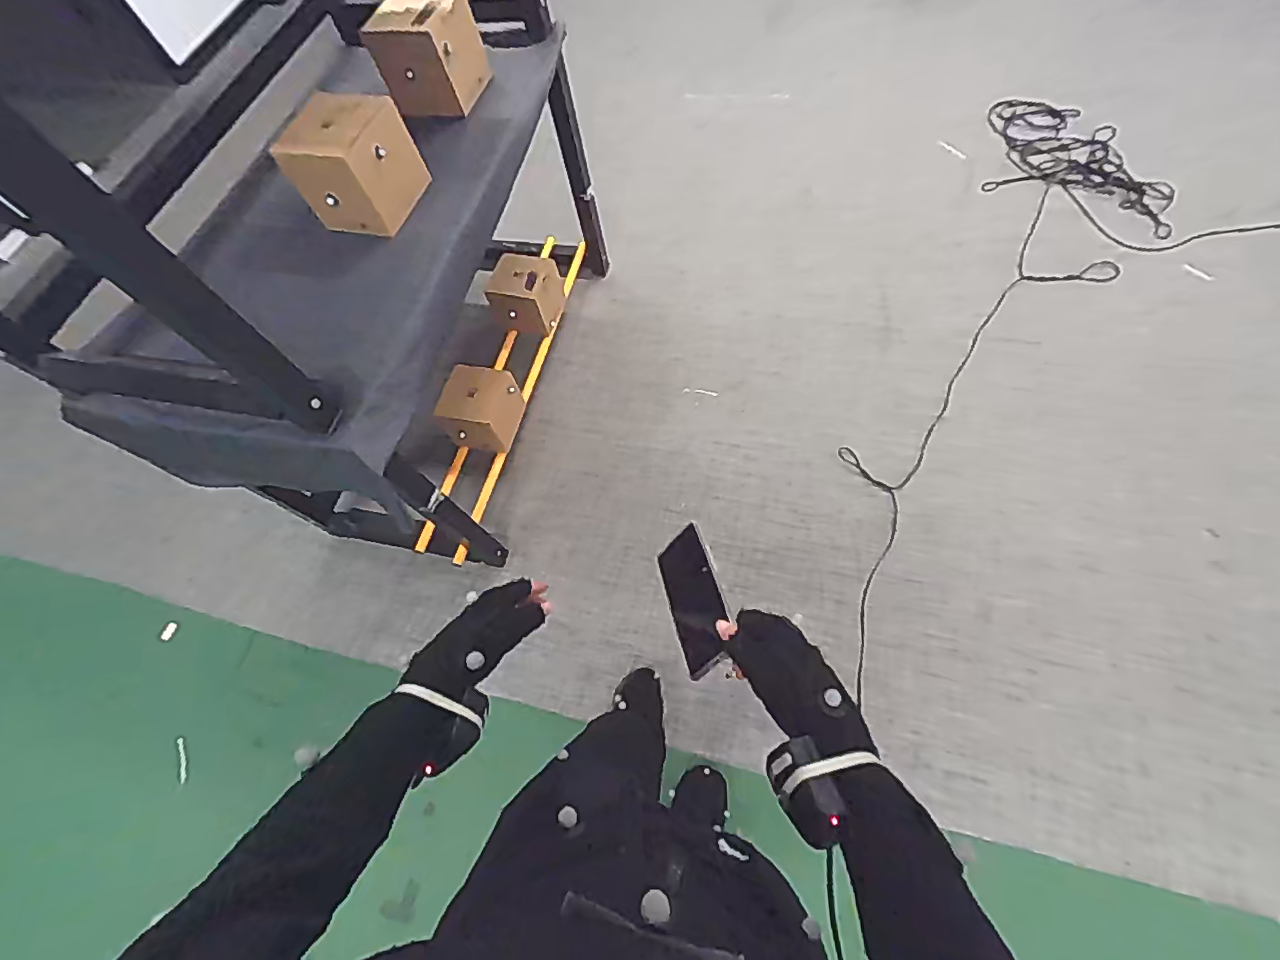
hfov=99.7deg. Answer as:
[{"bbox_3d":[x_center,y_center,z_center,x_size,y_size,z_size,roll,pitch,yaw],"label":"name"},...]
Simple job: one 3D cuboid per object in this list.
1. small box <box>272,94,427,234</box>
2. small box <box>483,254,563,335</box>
[{"bbox_3d":[-0.544,-0.604,1.043,0.168,0.176,0.179,12,67,13],"label":"small box"},{"bbox_3d":[-0.359,-0.580,1.704,0.179,0.176,0.168,13,66,13],"label":"small box"}]
